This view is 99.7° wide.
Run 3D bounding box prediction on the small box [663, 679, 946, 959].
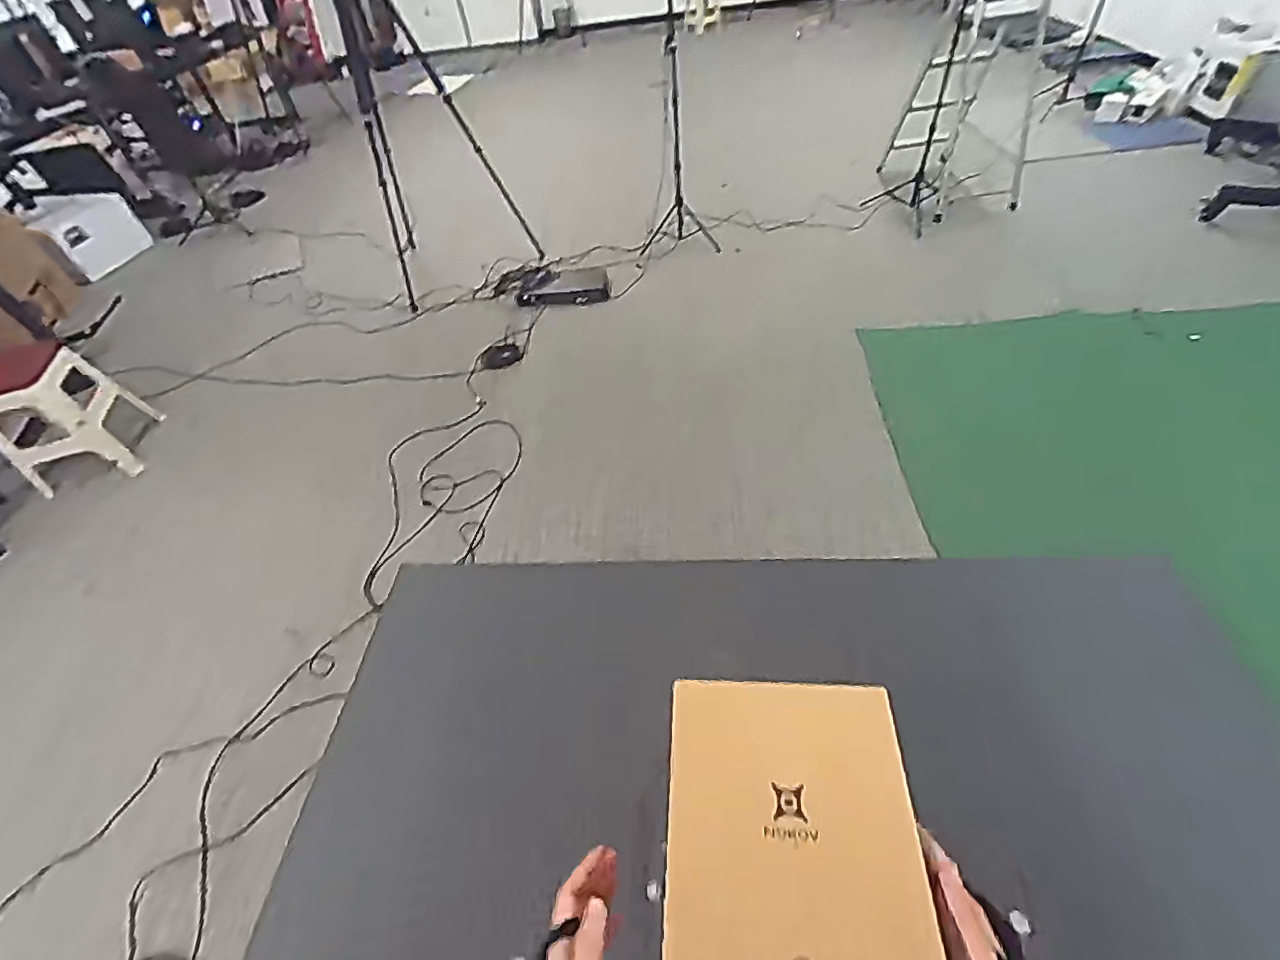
[{"bbox_3d":[0.107,0.277,0.424,0.168,0.176,0.179,-1,48,7],"label":"small box"}]
